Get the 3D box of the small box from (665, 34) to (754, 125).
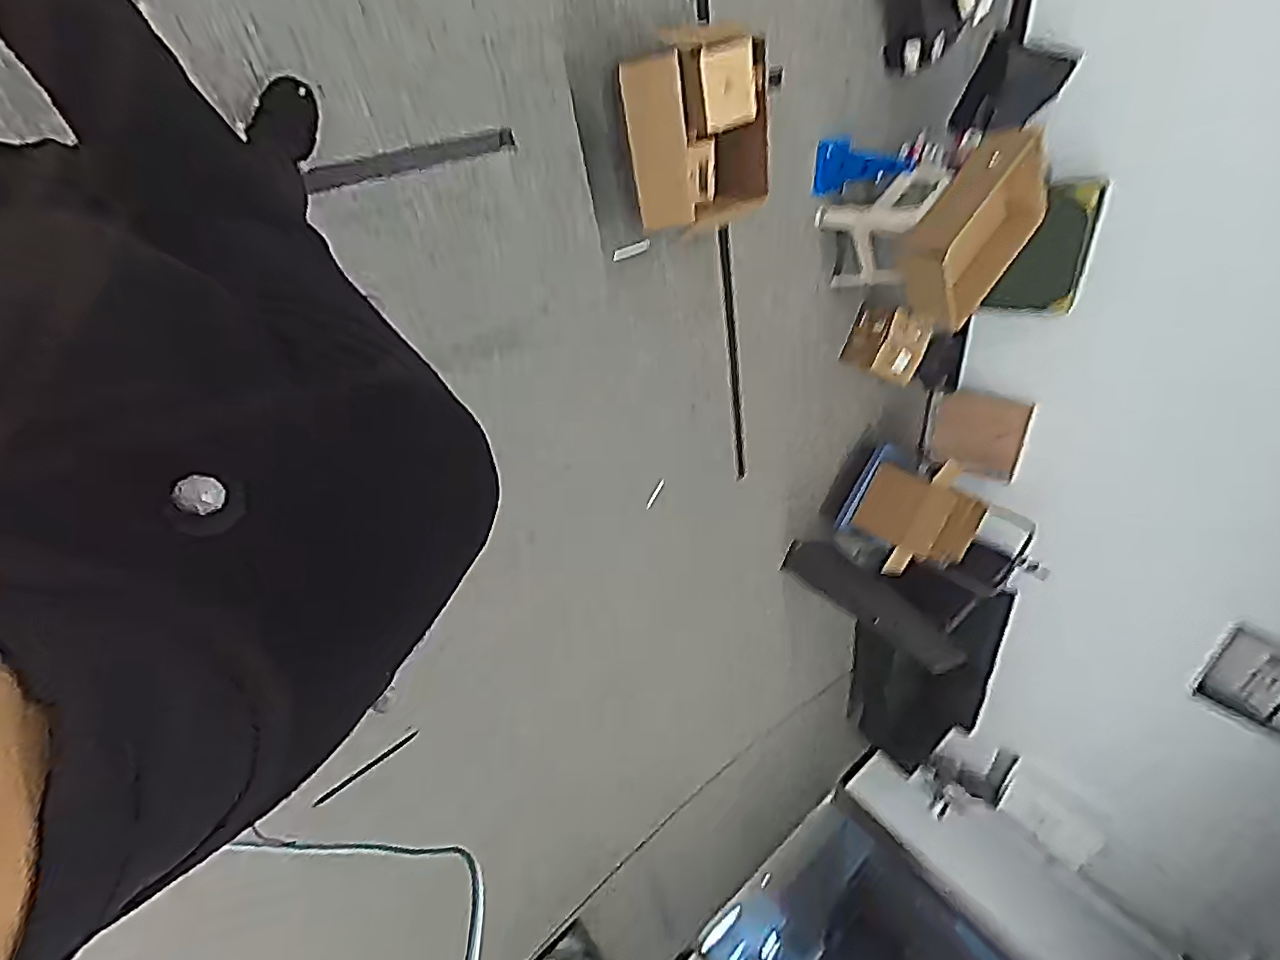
[{"bbox_3d":[0.181,-1.068,1.452,0.179,0.176,0.168,-31,131,-22],"label":"small box"}]
